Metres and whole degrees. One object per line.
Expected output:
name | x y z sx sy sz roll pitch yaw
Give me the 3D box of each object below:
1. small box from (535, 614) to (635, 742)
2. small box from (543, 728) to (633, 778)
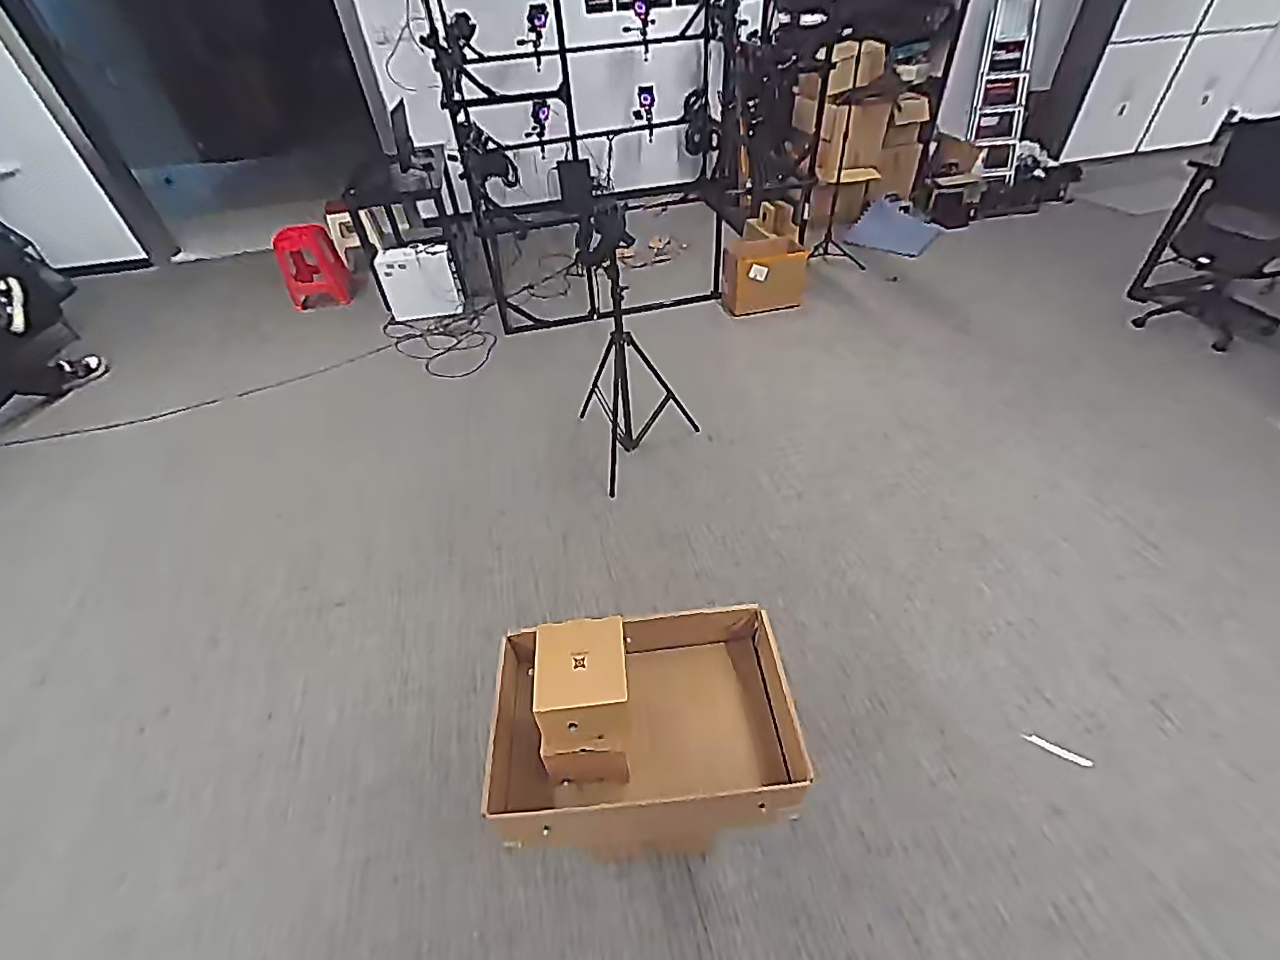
small box | -0.101 0.384 1.039 0.168 0.176 0.179 -6 42 -2
small box | -0.101 0.512 1.141 0.168 0.176 0.179 -3 42 1
